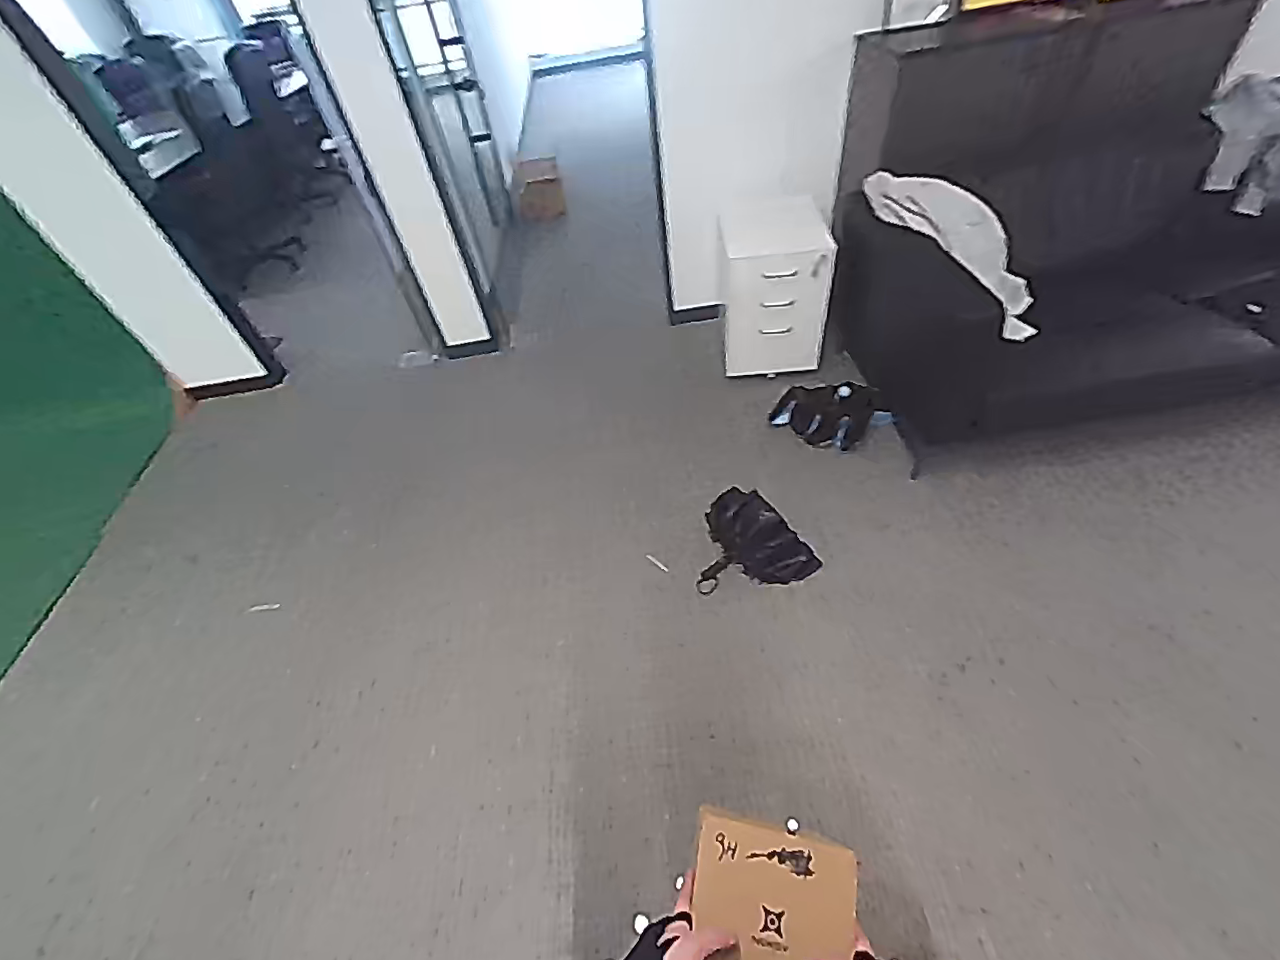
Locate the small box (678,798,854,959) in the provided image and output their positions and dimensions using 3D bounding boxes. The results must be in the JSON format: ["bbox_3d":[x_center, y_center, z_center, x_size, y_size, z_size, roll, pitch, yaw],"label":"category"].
[{"bbox_3d":[0.135,0.482,0.613,0.168,0.176,0.179,8,65,9],"label":"small box"}]
